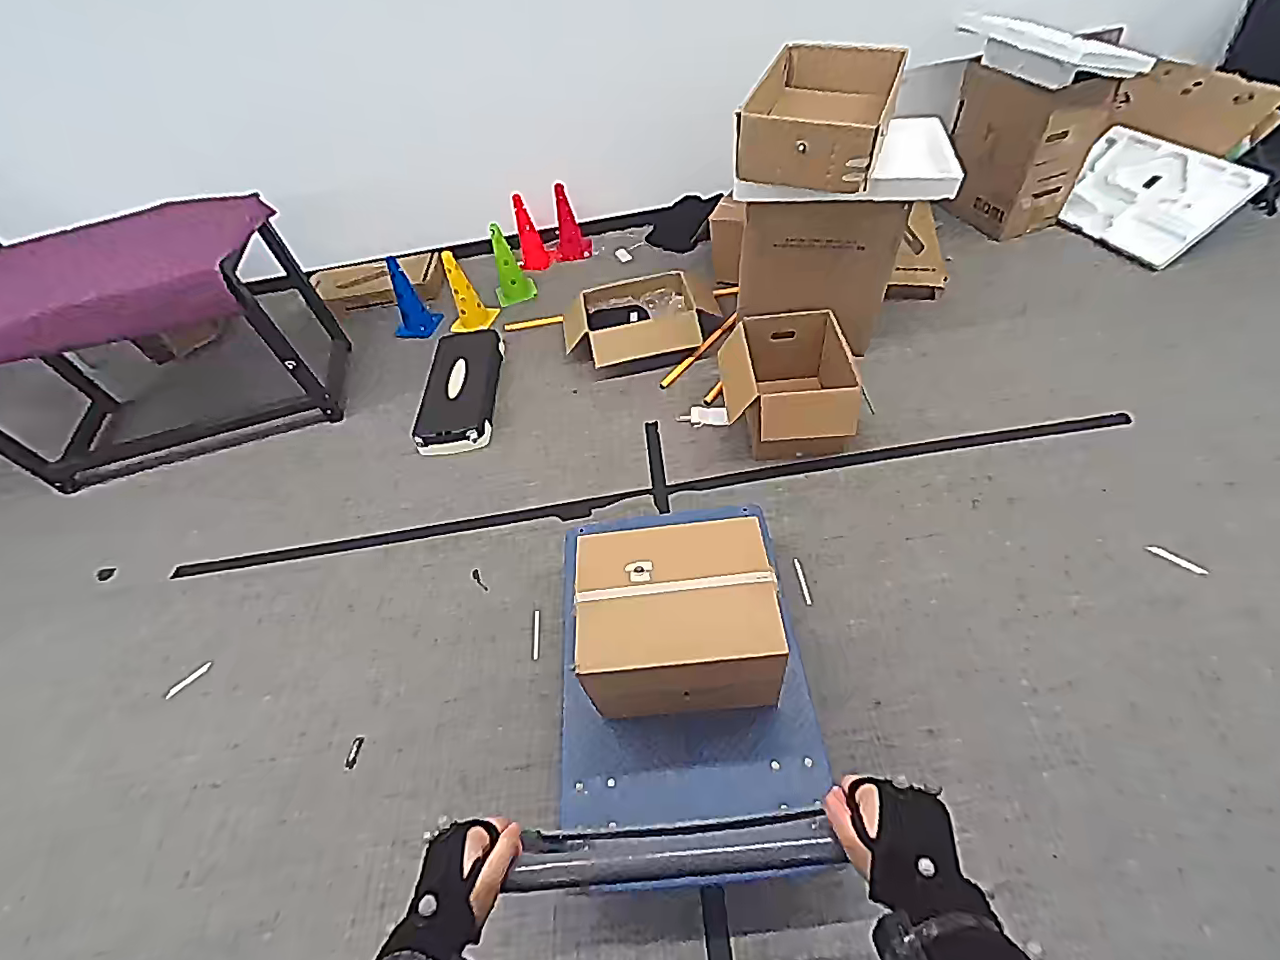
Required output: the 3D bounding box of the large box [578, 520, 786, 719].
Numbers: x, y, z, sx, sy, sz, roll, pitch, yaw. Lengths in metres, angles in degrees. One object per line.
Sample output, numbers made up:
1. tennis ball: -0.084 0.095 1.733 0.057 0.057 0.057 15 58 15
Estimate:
1. large box: 0.089 0.326 1.230 0.408 0.320 0.320 -8 50 4
